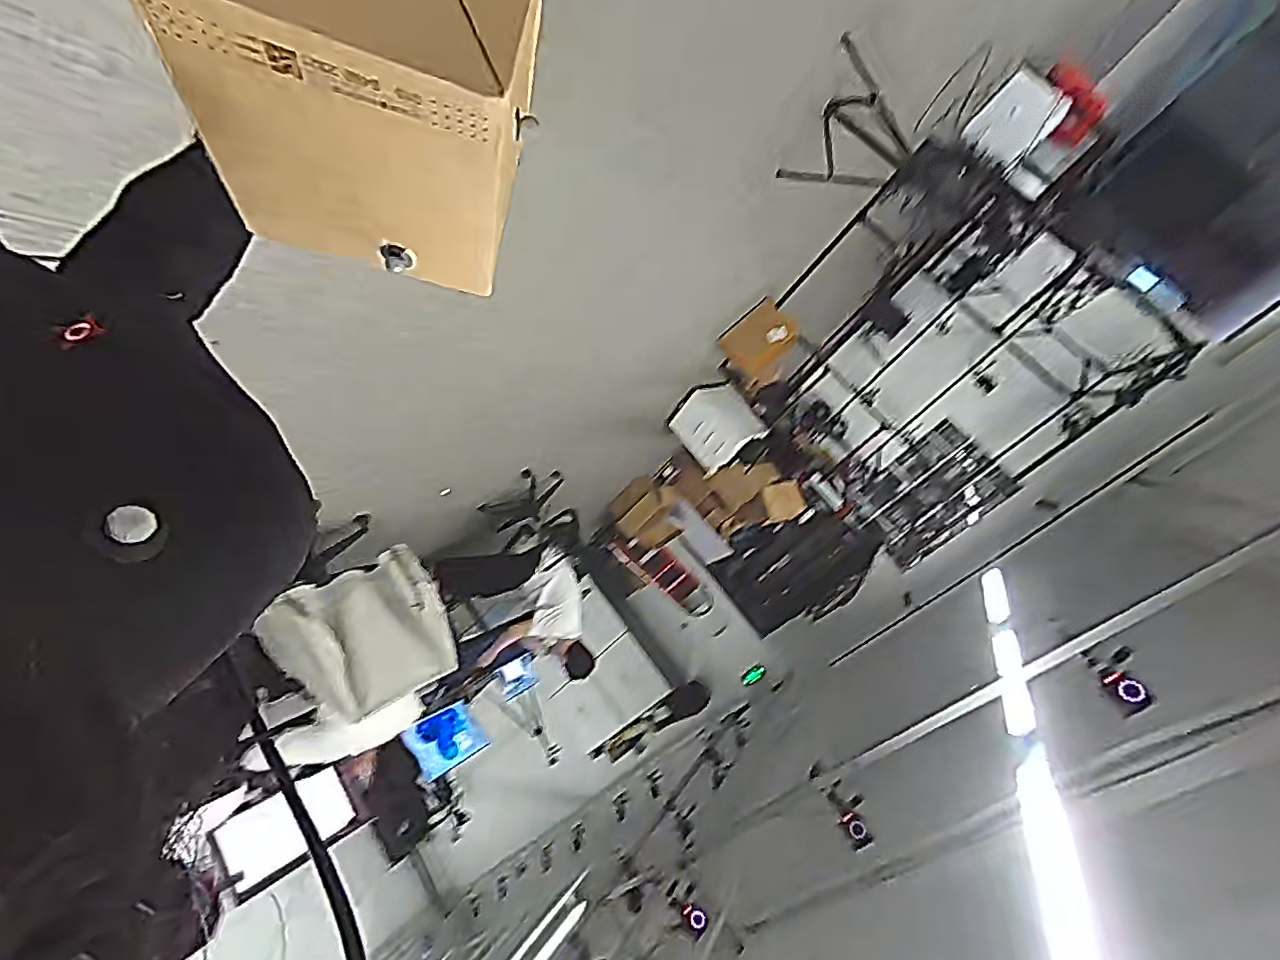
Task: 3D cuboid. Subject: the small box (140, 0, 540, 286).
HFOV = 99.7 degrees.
[{"bbox_3d":[-0.157,-0.261,0.340,0.168,0.179,0.176,10,162,-14],"label":"small box"}]
